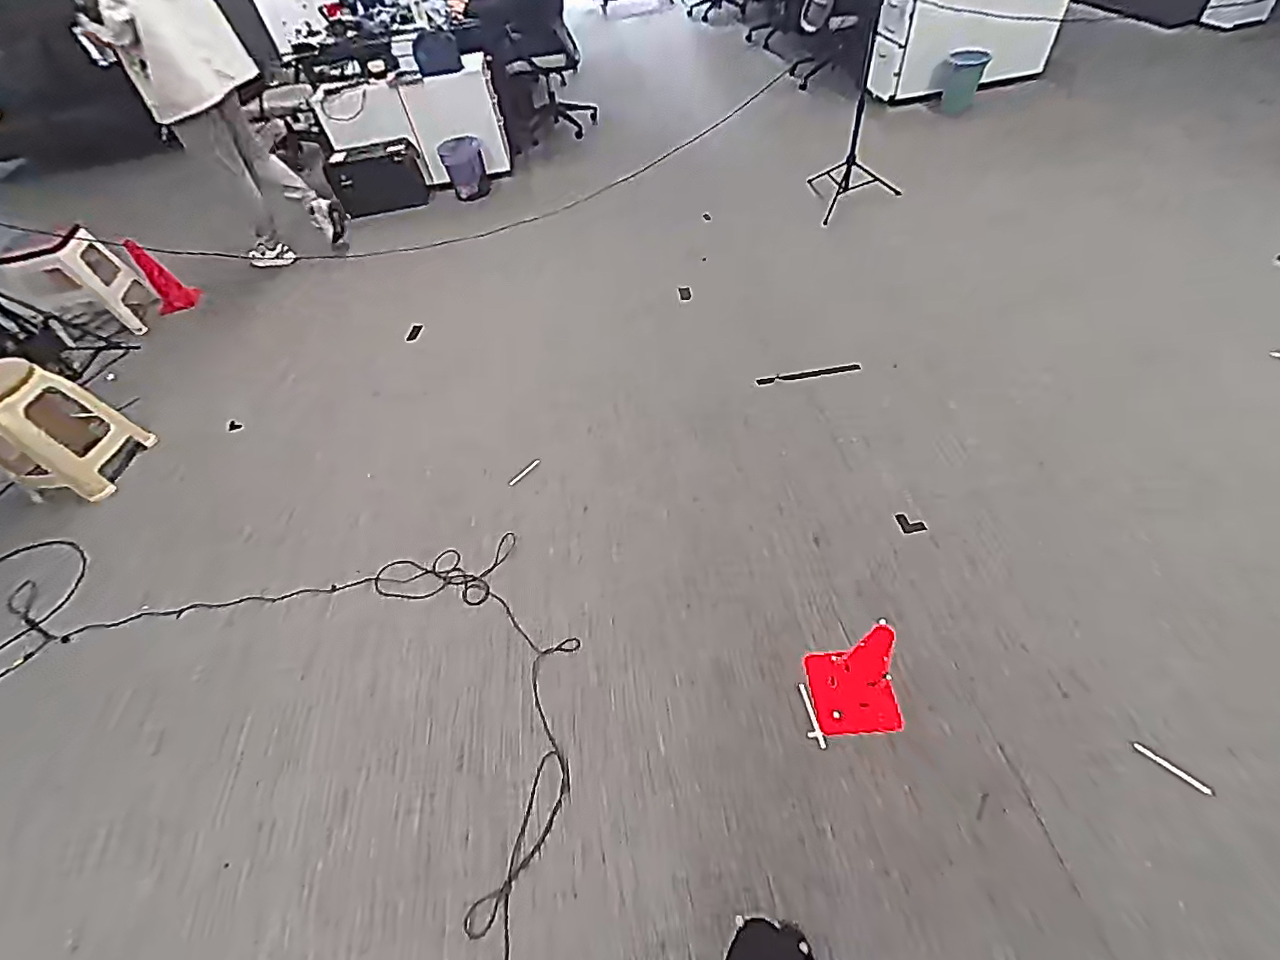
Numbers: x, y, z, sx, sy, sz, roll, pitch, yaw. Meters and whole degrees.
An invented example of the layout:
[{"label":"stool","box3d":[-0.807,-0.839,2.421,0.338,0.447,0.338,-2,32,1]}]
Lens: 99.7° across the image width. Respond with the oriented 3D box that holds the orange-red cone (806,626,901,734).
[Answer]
[{"label":"orange-red cone","box3d":[0.506,0.414,1.205,0.199,0.360,0.198,-4,51,3]}]
